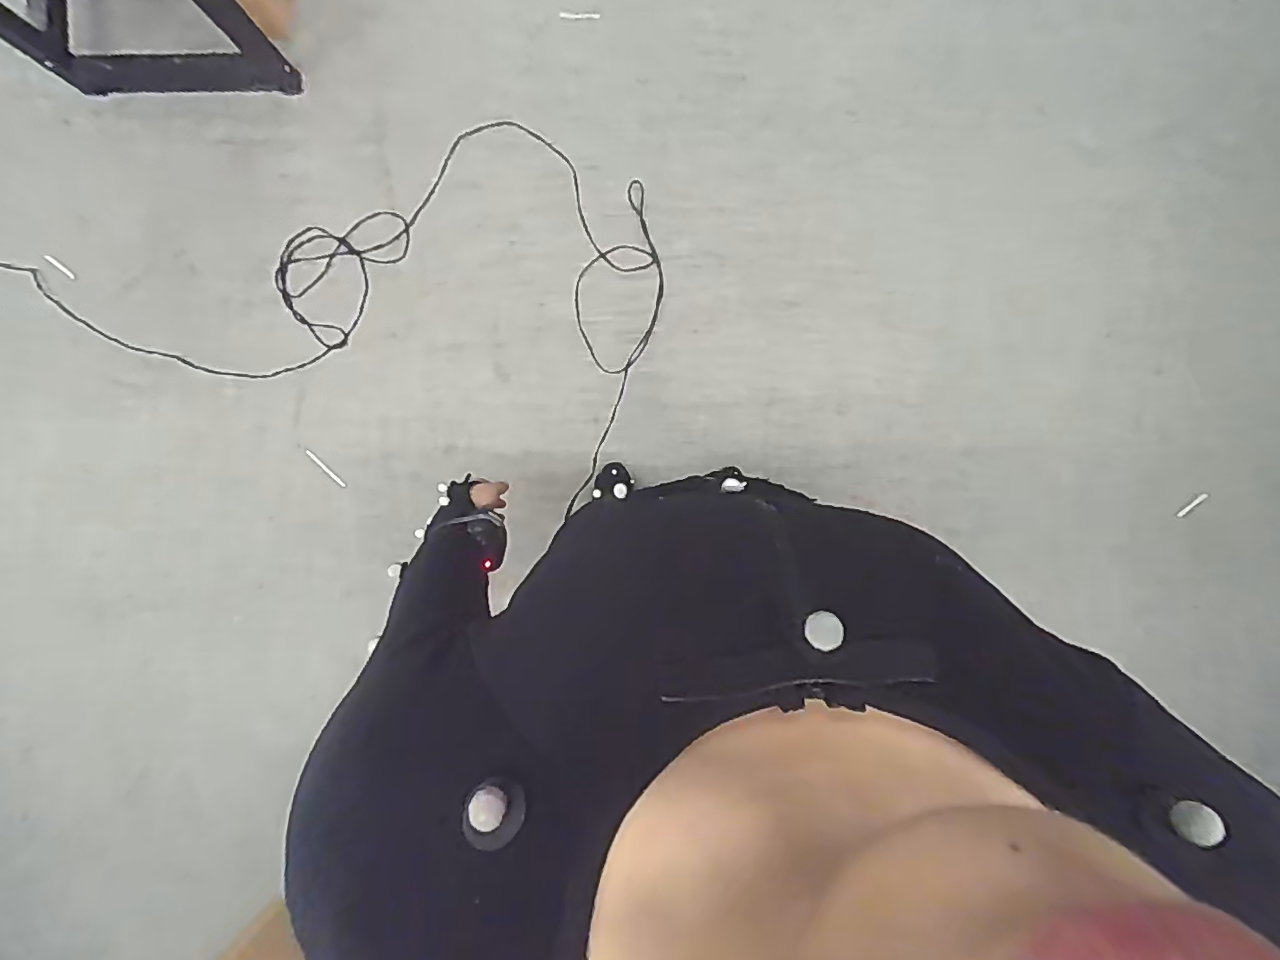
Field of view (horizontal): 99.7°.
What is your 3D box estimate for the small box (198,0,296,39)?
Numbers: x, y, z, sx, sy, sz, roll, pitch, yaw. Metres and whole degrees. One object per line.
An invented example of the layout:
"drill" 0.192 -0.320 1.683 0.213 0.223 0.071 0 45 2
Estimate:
"small box" -0.989 -1.247 1.348 0.179 0.176 0.168 4 93 -1
